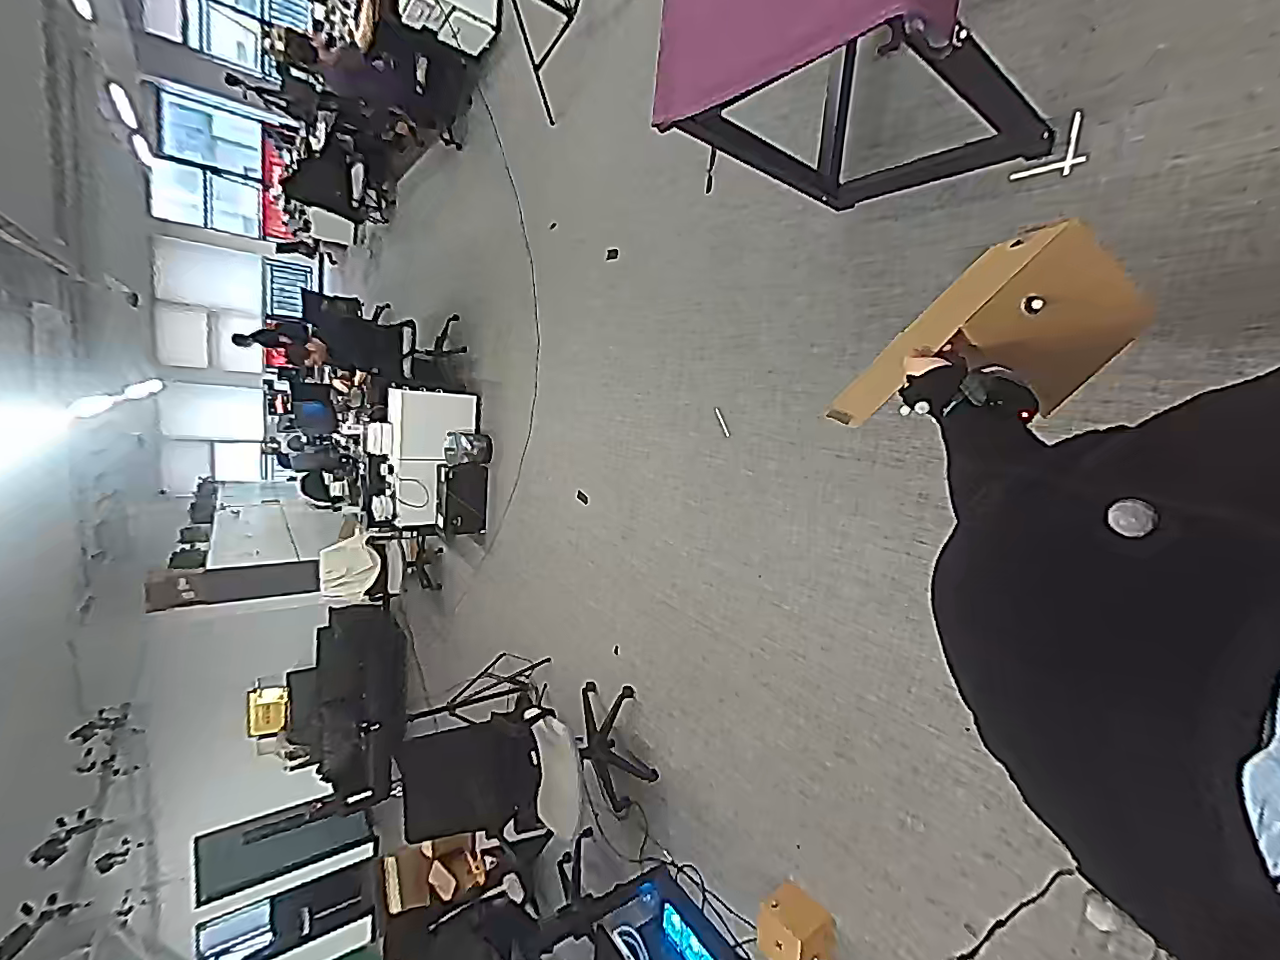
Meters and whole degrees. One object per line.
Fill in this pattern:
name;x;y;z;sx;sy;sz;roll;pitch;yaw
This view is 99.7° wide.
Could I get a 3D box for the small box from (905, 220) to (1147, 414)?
small box;0.518;-0.210;0.741;0.179;0.176;0.168;-45;9;9
